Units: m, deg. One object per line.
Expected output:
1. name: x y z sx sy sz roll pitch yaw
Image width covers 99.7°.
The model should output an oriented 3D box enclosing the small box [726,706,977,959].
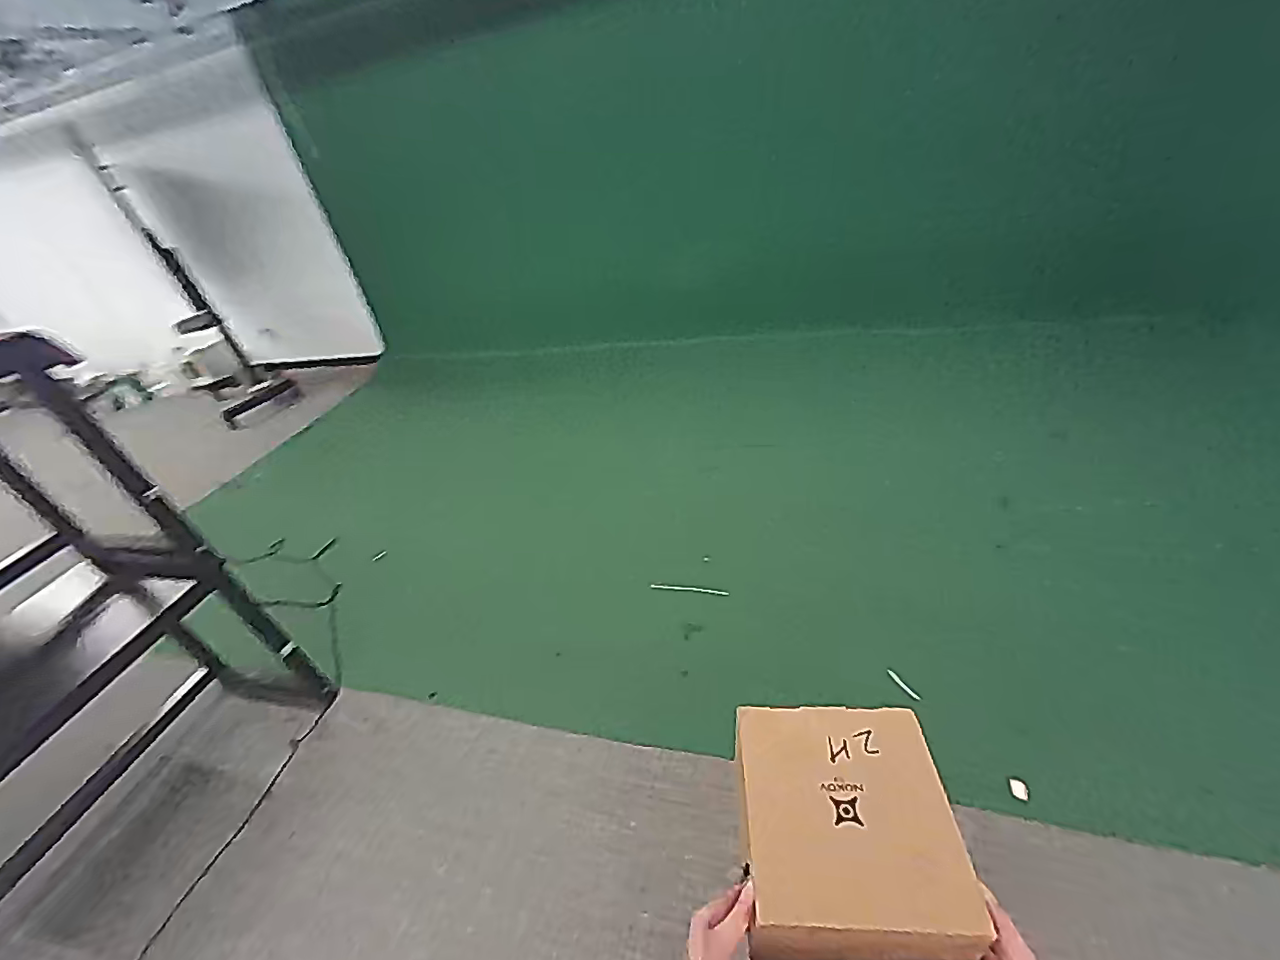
1. small box: 0.166 0.332 0.491 0.168 0.176 0.179 -2 33 5
